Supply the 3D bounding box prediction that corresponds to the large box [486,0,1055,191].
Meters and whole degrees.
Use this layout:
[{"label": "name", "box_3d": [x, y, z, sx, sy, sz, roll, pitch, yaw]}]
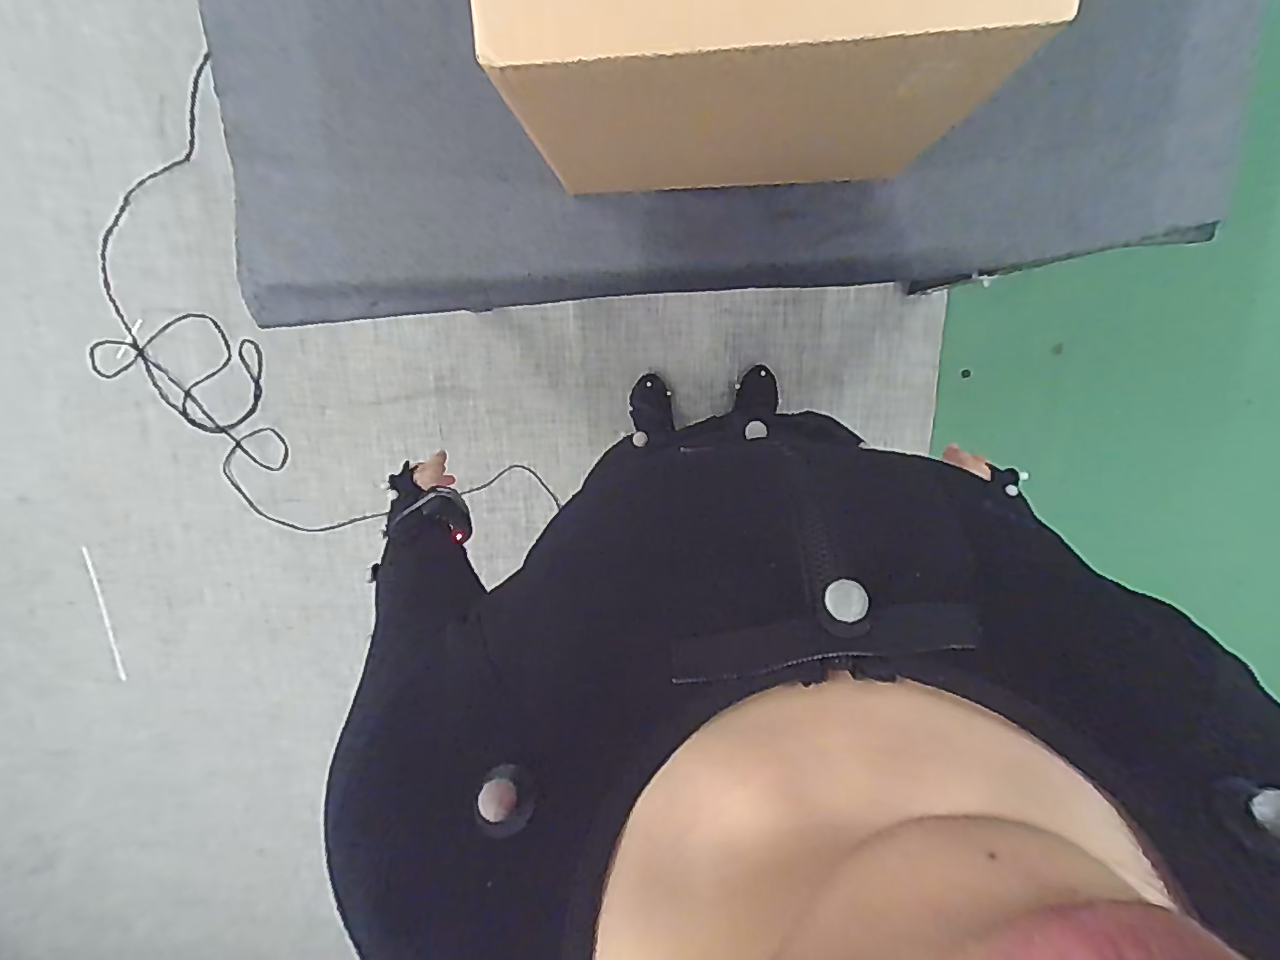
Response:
[{"label": "large box", "box_3d": [0.088, -0.490, 0.498, 0.408, 0.320, 0.320, -2, 103, 4]}]
